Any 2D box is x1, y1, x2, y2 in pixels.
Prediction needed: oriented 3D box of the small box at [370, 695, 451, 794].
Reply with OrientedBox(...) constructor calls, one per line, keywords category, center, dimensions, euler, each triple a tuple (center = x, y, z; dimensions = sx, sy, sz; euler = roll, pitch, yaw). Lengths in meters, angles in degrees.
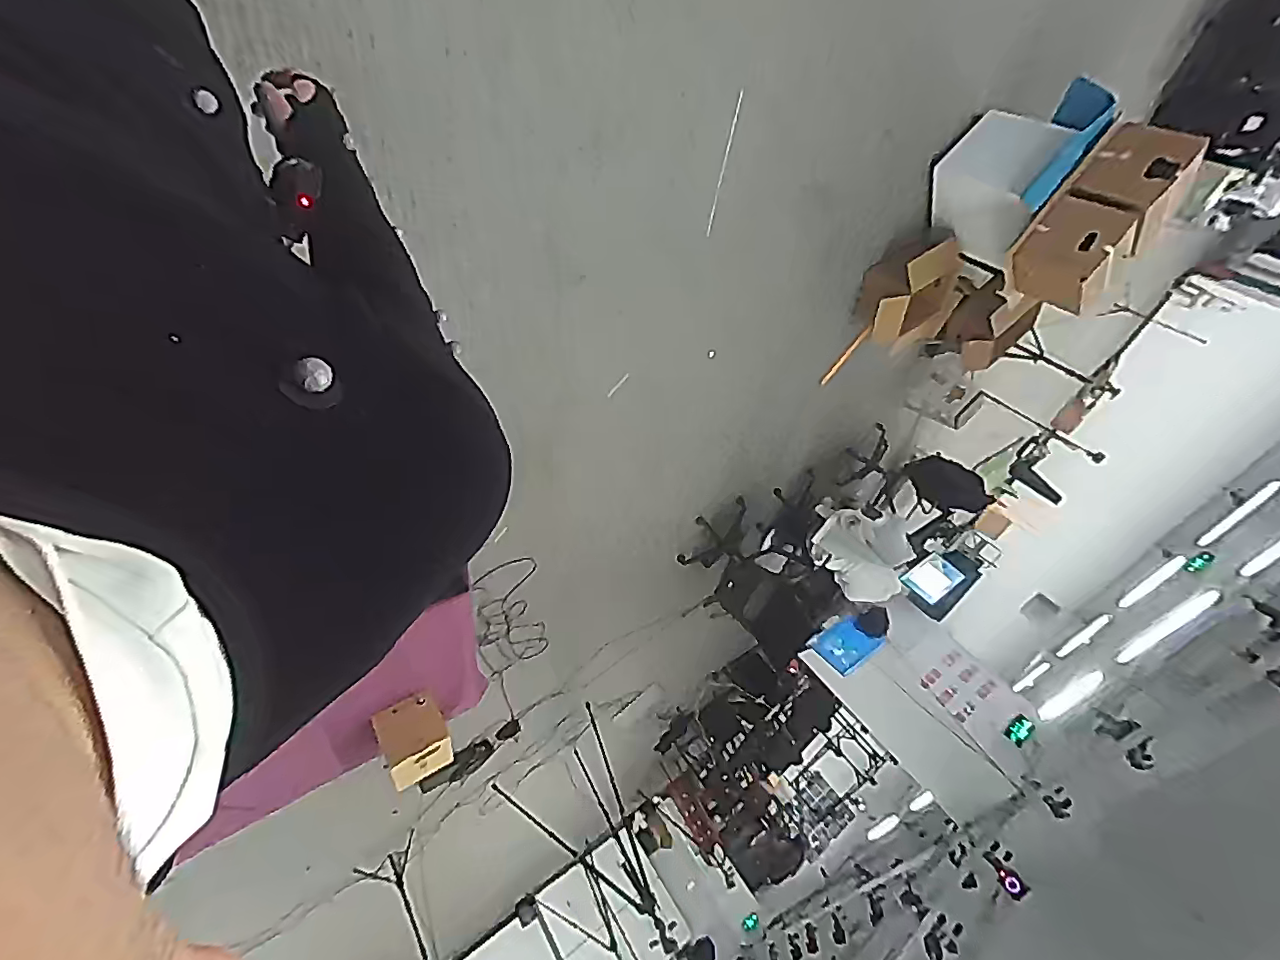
OrientedBox(category="small box", center=(-0.663, 0.754, 1.562), dimensions=(0.168, 0.176, 0.179), euler=(-19, 140, -32))
